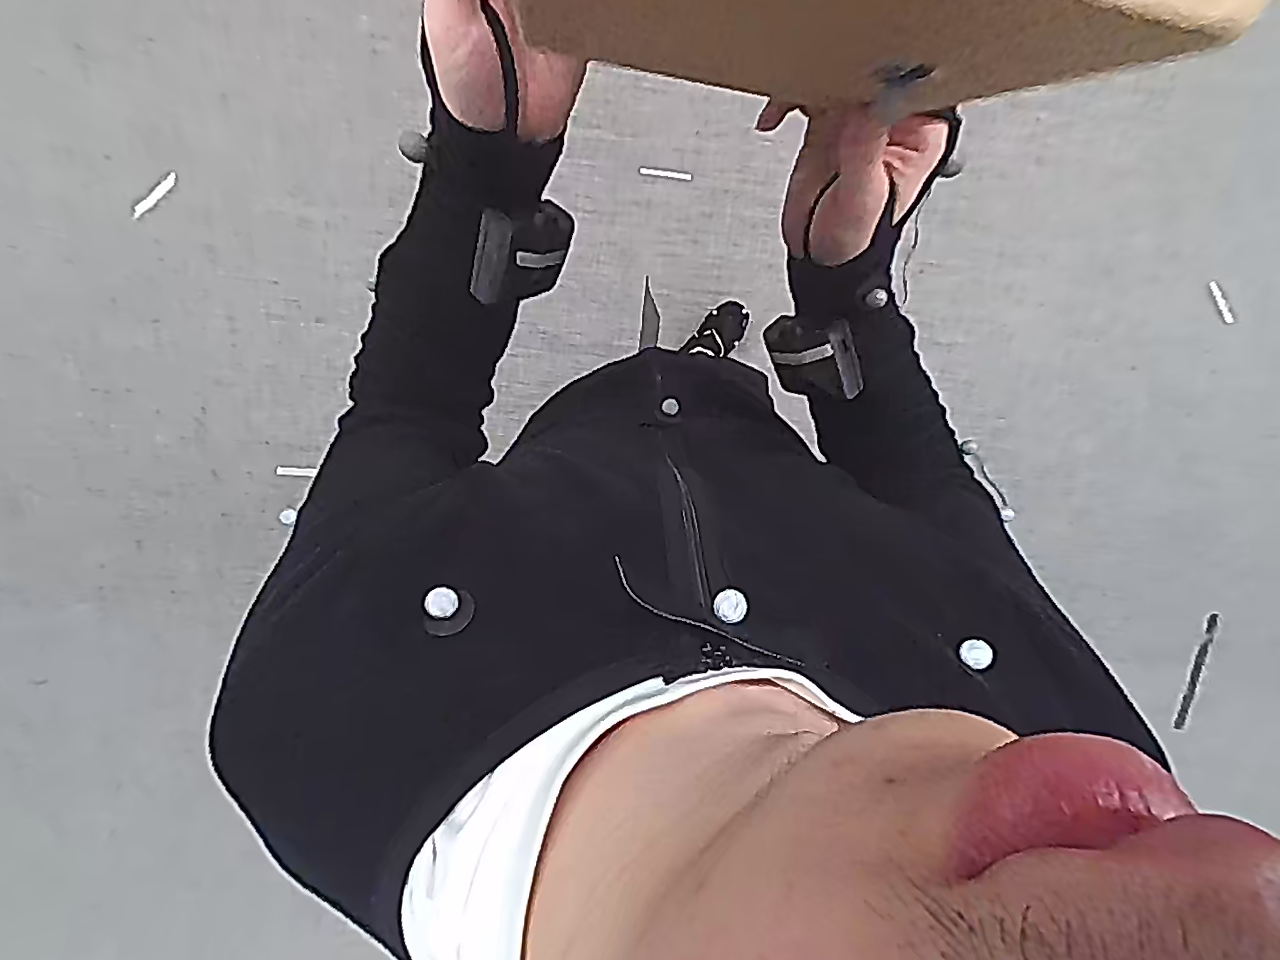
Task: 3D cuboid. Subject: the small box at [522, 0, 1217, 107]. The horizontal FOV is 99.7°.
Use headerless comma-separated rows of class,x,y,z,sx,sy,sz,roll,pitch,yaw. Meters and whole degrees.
small box,0.053,-0.224,0.156,0.179,0.176,0.168,0,116,-9
